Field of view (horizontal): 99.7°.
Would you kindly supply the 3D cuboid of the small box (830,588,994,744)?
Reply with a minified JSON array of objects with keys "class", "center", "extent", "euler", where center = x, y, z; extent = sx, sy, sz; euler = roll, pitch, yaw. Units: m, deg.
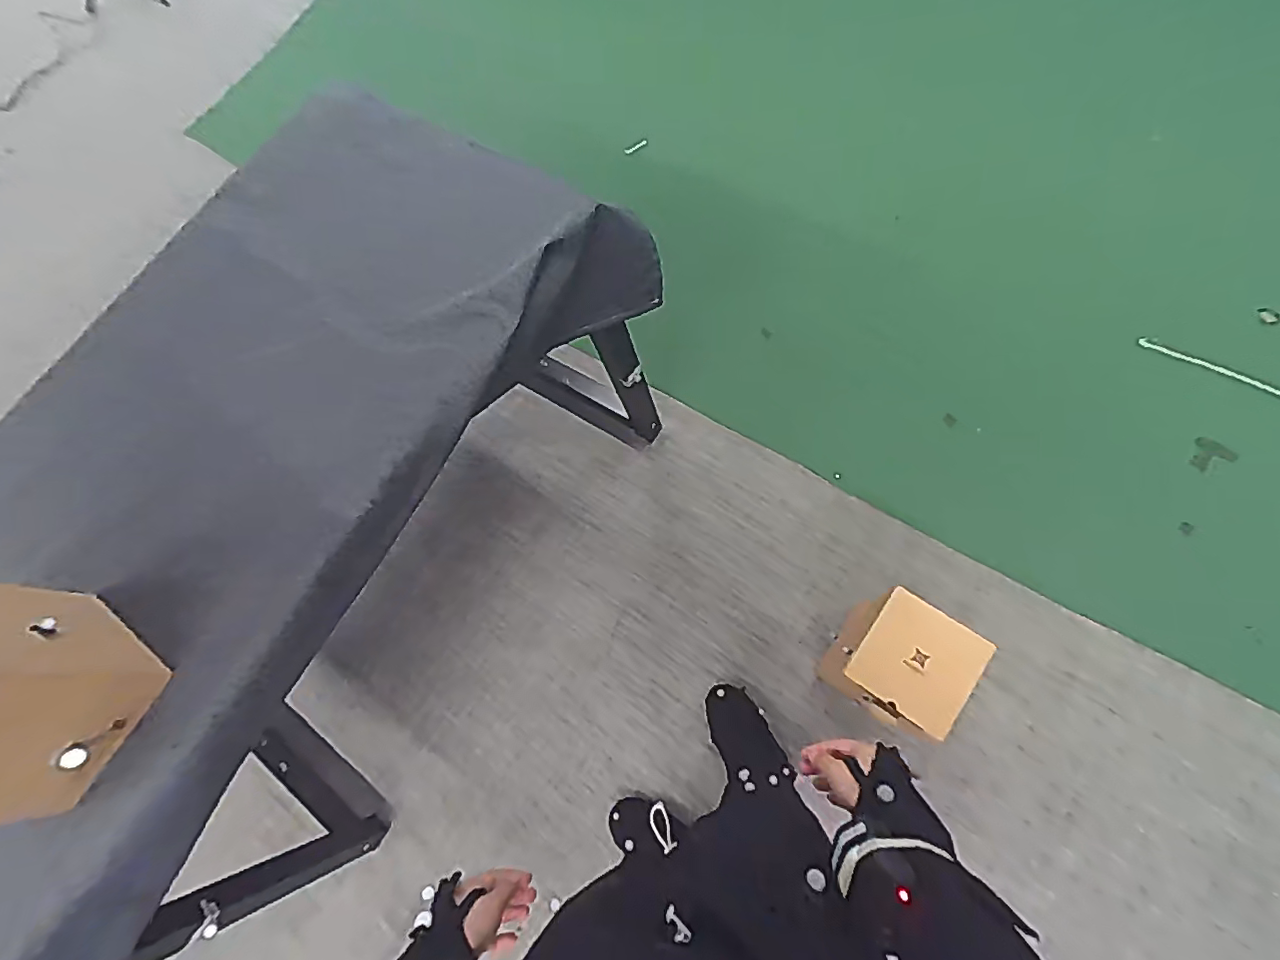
[{"class":"small box","center":[0.443,0.307,0.913],"extent":[0.168,0.176,0.179],"euler":[33,80,18]}]

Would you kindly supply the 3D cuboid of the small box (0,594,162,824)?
[{"class":"small box","center":[-0.651,0.225,0.537],"extent":[0.179,0.176,0.168],"euler":[28,79,17]}]

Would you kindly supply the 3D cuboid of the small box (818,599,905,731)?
[{"class":"small box","center":[0.468,0.360,1.067],"extent":[0.168,0.176,0.179],"euler":[31,81,18]}]
